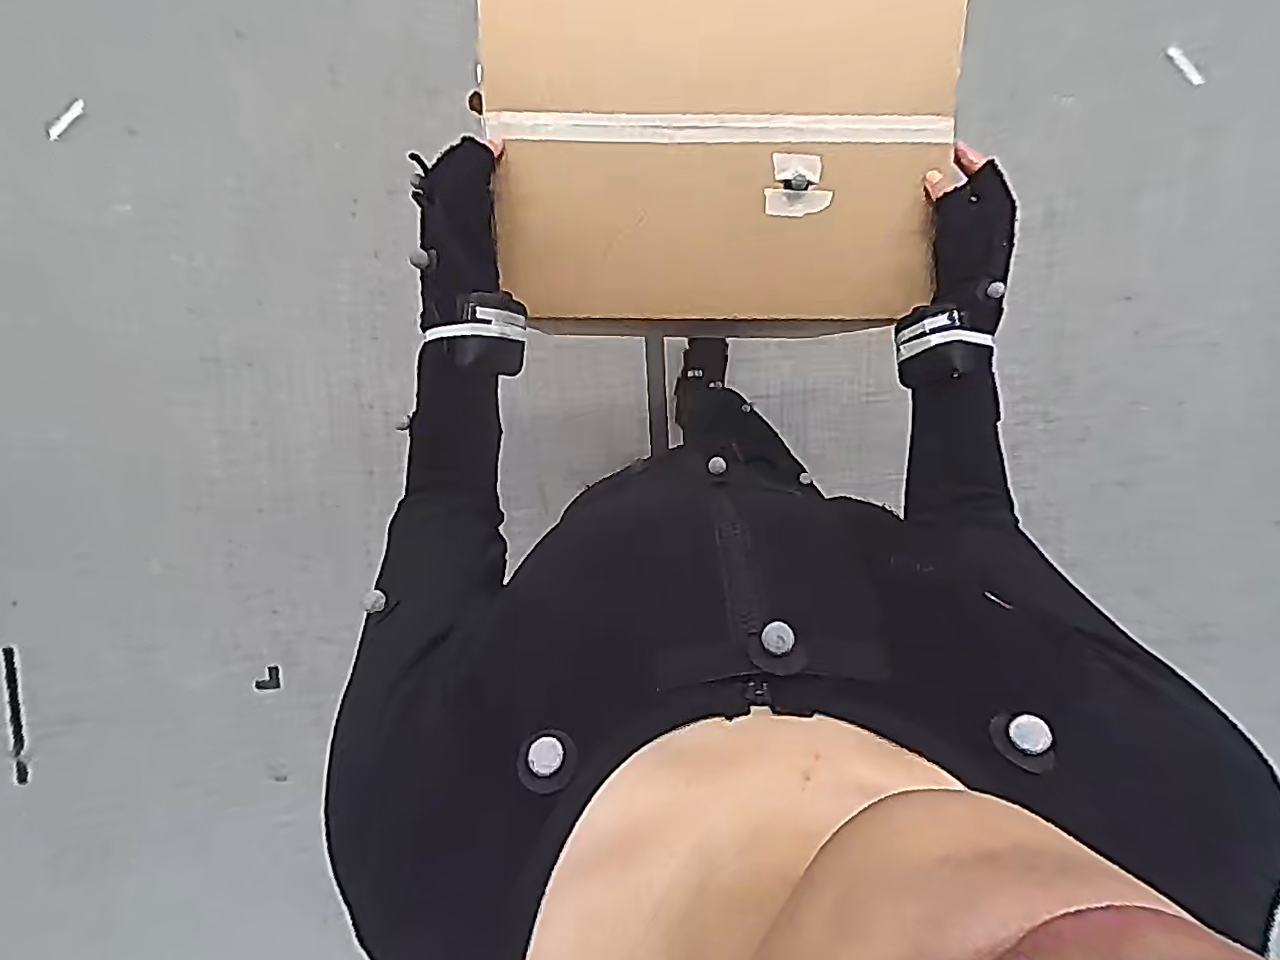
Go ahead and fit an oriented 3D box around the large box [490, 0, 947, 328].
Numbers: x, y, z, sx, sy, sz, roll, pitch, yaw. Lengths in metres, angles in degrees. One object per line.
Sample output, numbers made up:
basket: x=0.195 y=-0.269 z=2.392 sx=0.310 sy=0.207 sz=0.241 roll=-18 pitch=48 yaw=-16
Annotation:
large box: x=0.064 y=-0.350 z=0.631 sx=0.408 sy=0.320 sz=0.320 roll=0 pitch=103 yaw=-2
